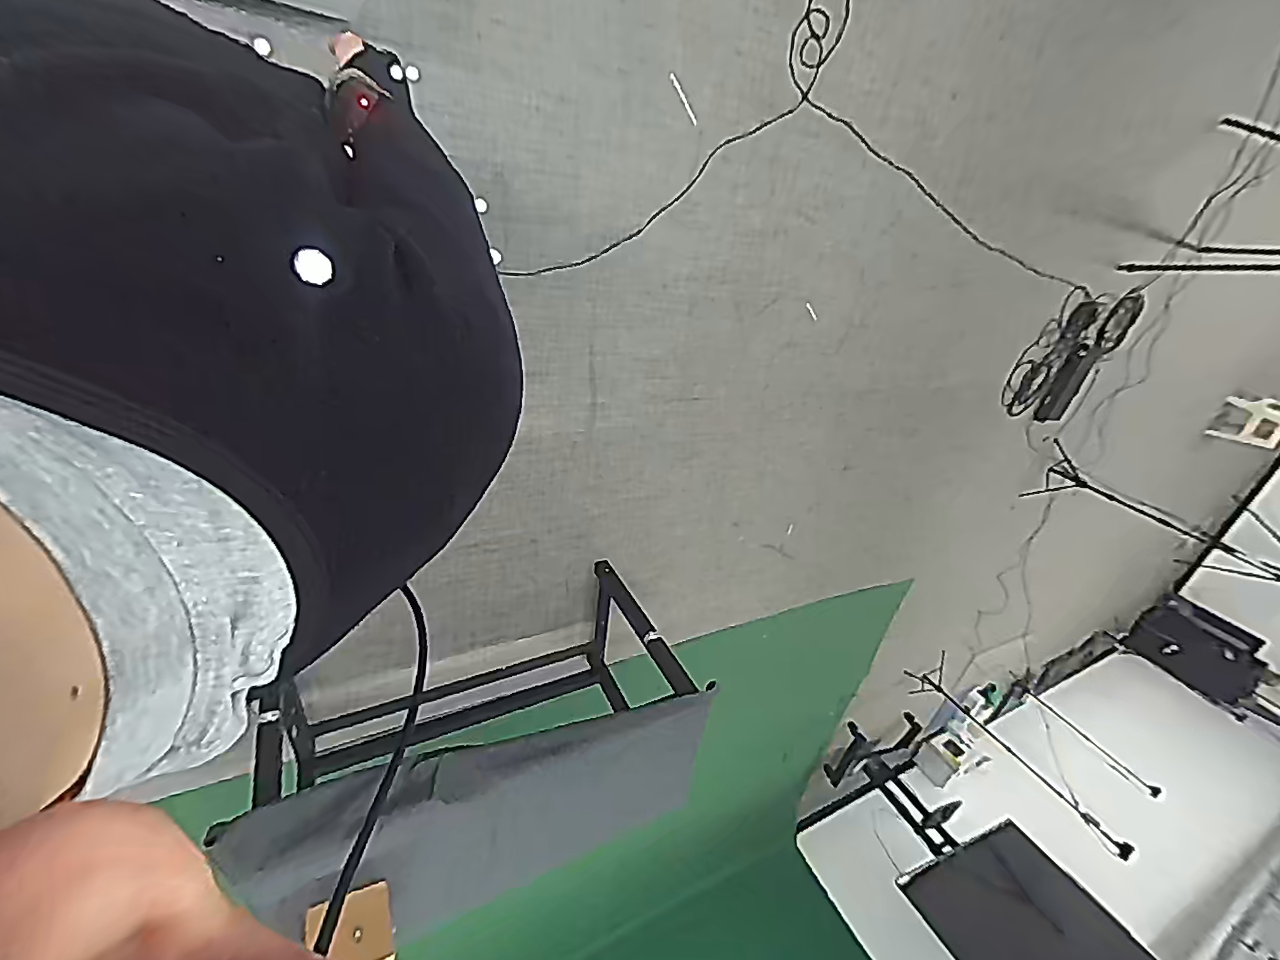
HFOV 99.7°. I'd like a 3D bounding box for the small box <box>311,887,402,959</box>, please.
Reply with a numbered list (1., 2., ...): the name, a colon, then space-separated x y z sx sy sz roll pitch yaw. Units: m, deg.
1. small box: -0.677 1.123 1.287 0.179 0.176 0.168 -3 120 -32
